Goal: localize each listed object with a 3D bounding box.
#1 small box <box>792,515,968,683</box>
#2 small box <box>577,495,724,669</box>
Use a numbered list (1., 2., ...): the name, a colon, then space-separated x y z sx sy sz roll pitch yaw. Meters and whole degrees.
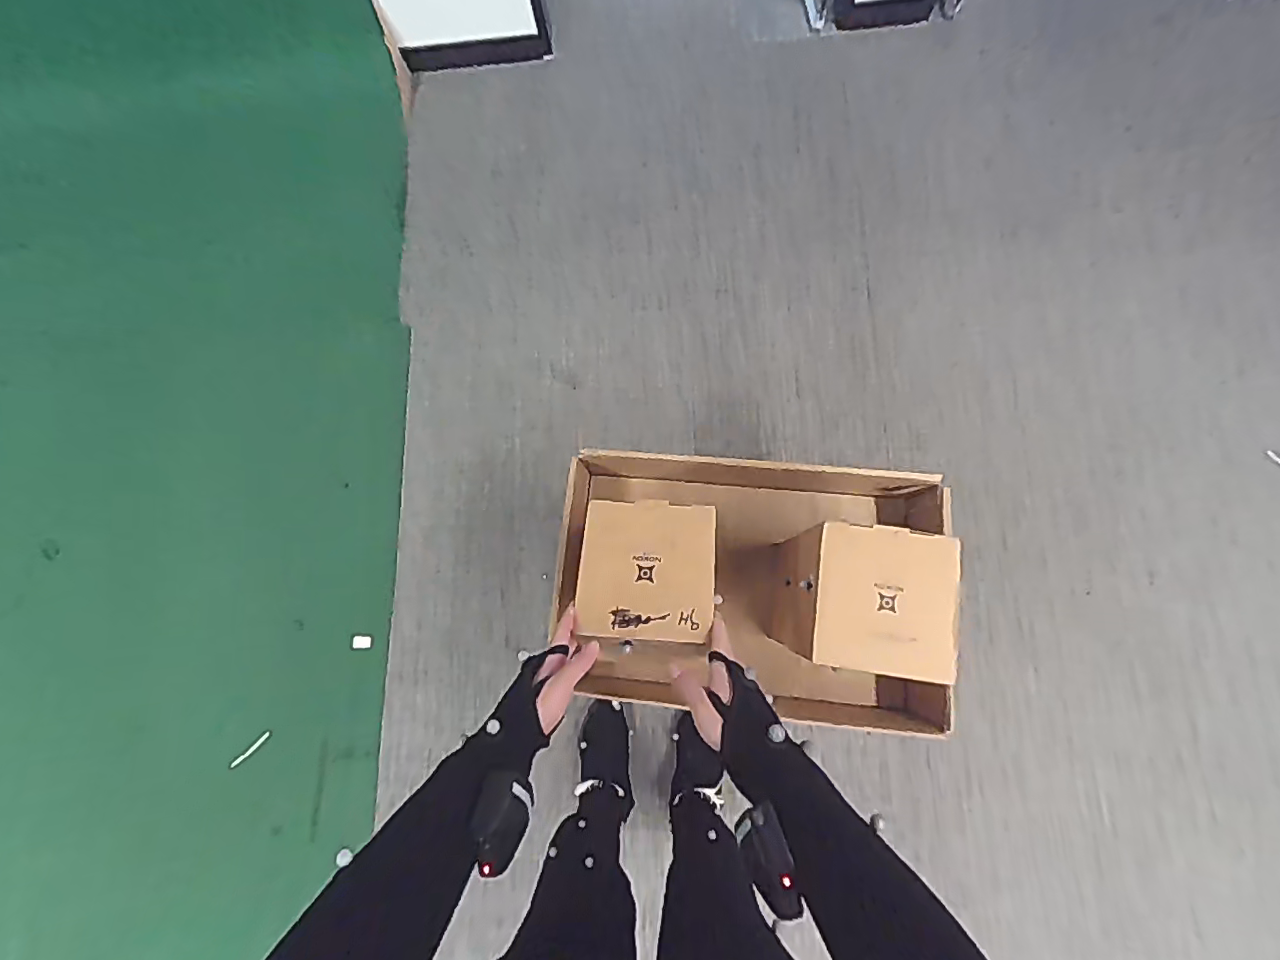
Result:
1. small box: 0.306 0.155 0.719 0.168 0.176 0.179 8 79 6
2. small box: 0.020 0.139 0.716 0.168 0.176 0.179 2 61 6
